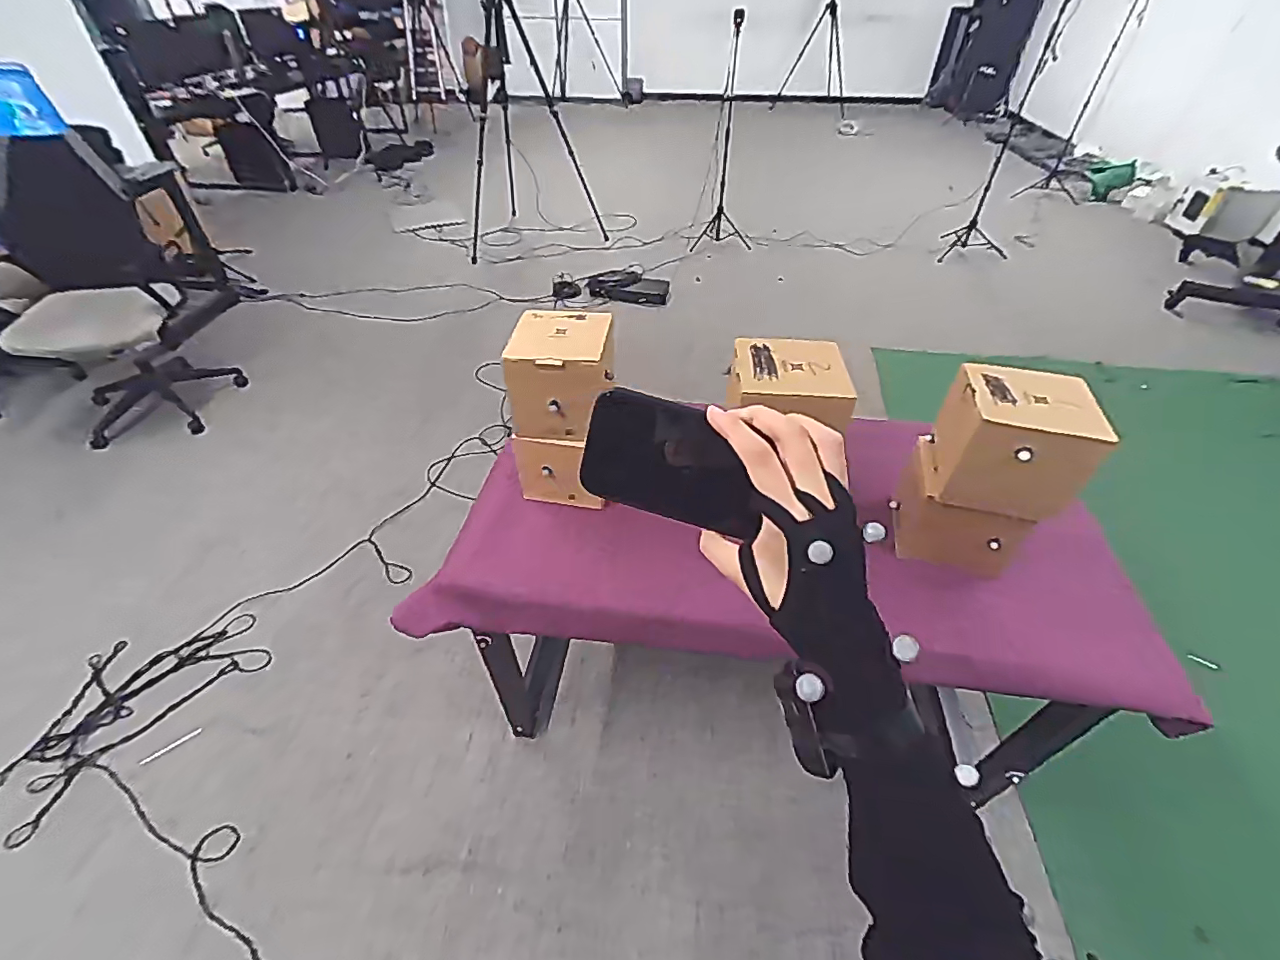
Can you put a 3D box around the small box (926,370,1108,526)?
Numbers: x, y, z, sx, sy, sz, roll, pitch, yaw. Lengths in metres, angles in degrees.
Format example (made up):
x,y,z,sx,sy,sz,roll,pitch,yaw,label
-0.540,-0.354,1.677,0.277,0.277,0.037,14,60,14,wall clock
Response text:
x,y,z,sx,sy,sz,roll,pitch,yaw,label
0.573,-0.050,0.856,0.179,0.176,0.168,12,45,11,small box

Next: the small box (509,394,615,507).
x,y,z,sx,sy,sz,roll,pitch,yaw,label
-0.146,-0.067,1.099,0.168,0.176,0.179,8,44,8,small box

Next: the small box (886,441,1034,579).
x,y,z,sx,sy,sz,roll,pitch,yaw,label
0.565,0.057,0.981,0.179,0.176,0.168,12,44,12,small box

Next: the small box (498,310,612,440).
x,y,z,sx,sy,sz,roll,pitch,yaw,label
-0.143,-0.191,0.991,0.168,0.176,0.179,5,44,4,small box

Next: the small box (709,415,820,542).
x,y,z,sx,sy,sz,roll,pitch,yaw,label
0.234,0.000,1.033,0.179,0.176,0.168,8,44,8,small box
